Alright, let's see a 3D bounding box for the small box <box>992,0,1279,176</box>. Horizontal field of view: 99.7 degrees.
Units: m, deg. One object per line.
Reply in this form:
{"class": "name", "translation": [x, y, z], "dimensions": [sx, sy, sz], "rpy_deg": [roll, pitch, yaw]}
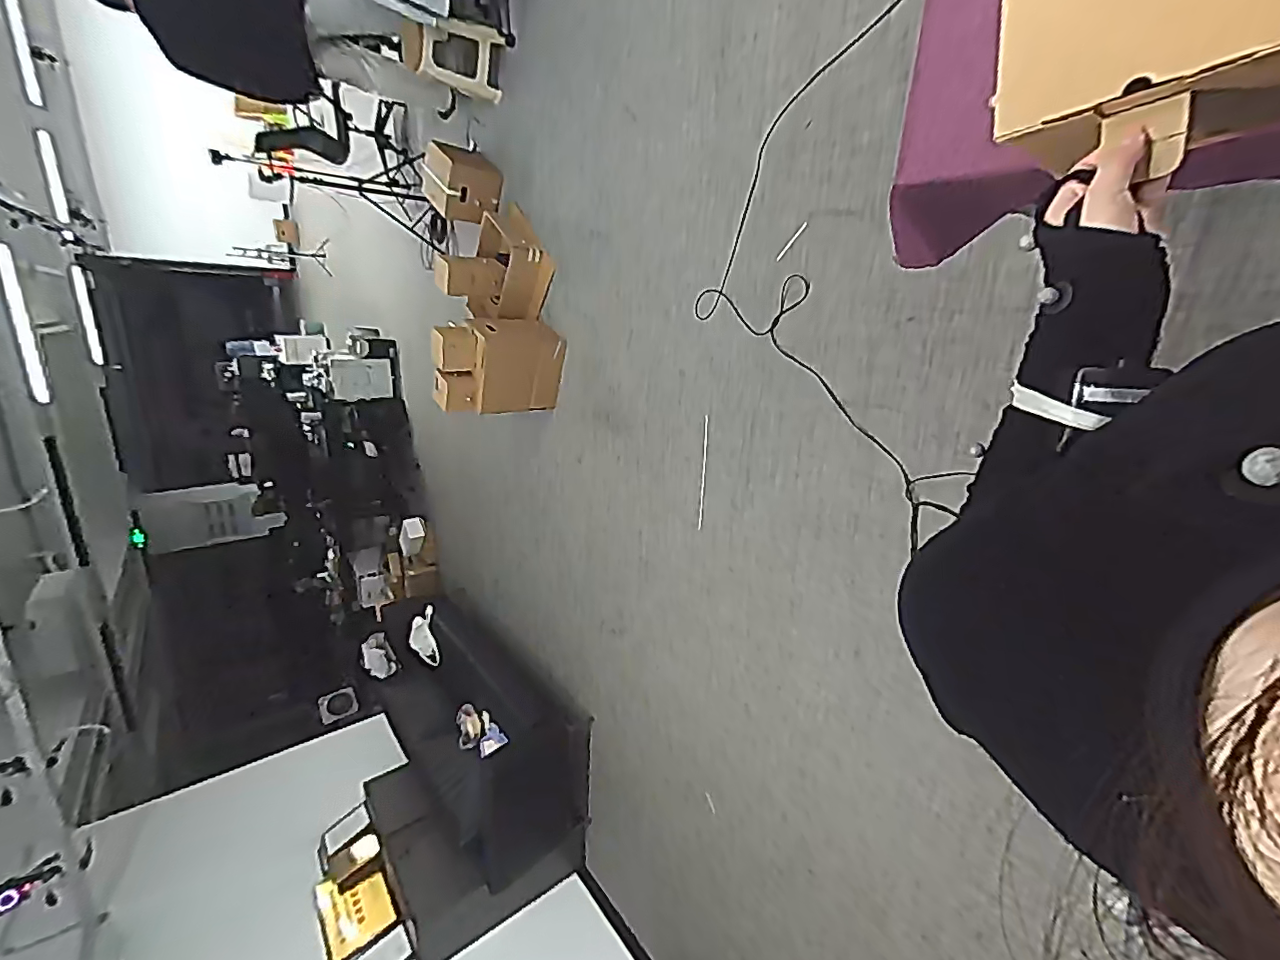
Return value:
{"class": "small box", "translation": [0.389, -0.355, 0.401], "dimensions": [0.168, 0.176, 0.179], "rpy_deg": [10, 108, 50]}
